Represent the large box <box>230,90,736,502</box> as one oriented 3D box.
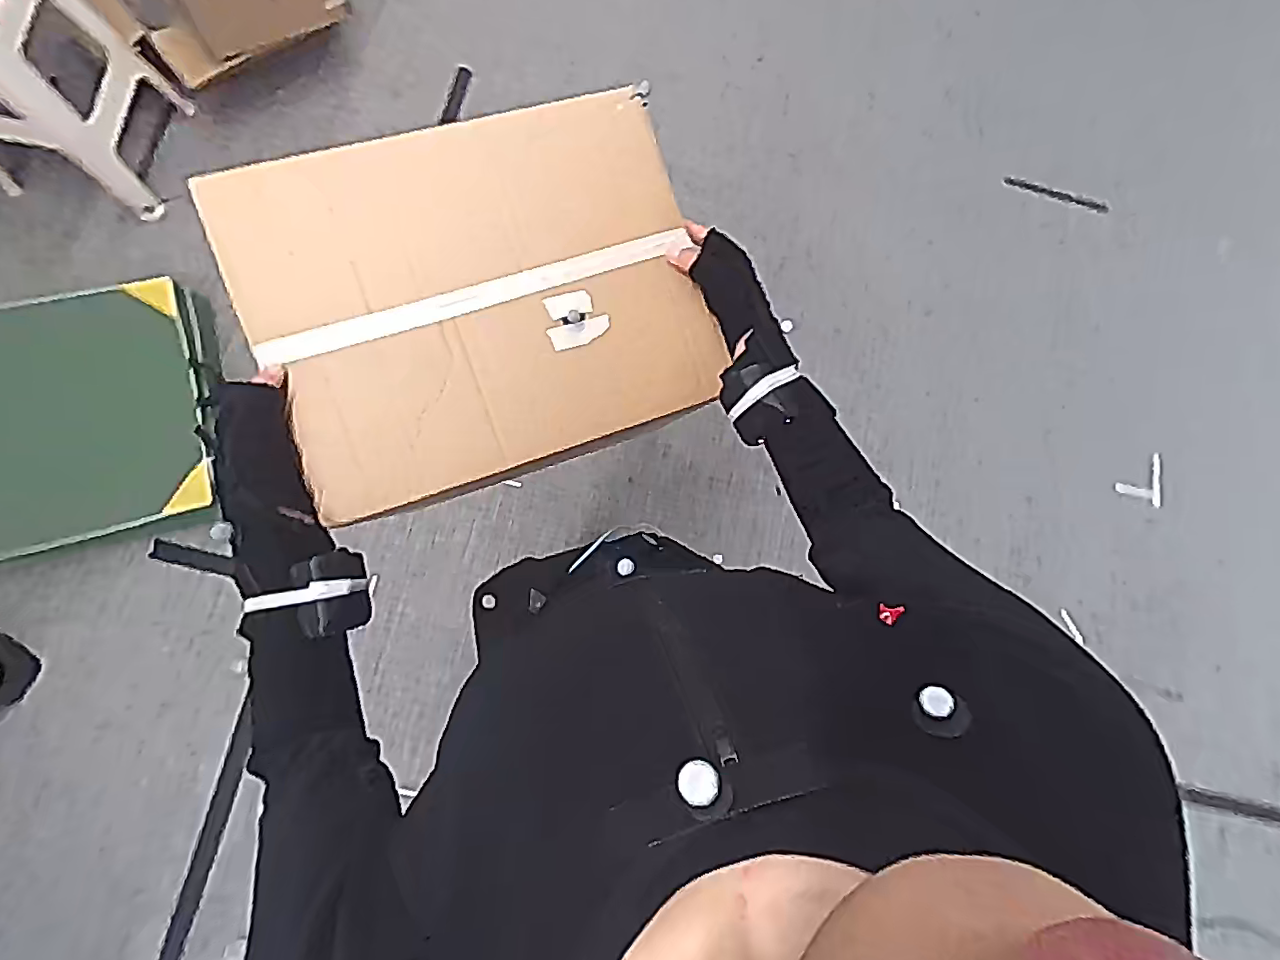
[{"bbox_3d":[-0.159,-0.183,0.658,0.408,0.320,0.320,-18,94,-11],"label":"large box"}]
